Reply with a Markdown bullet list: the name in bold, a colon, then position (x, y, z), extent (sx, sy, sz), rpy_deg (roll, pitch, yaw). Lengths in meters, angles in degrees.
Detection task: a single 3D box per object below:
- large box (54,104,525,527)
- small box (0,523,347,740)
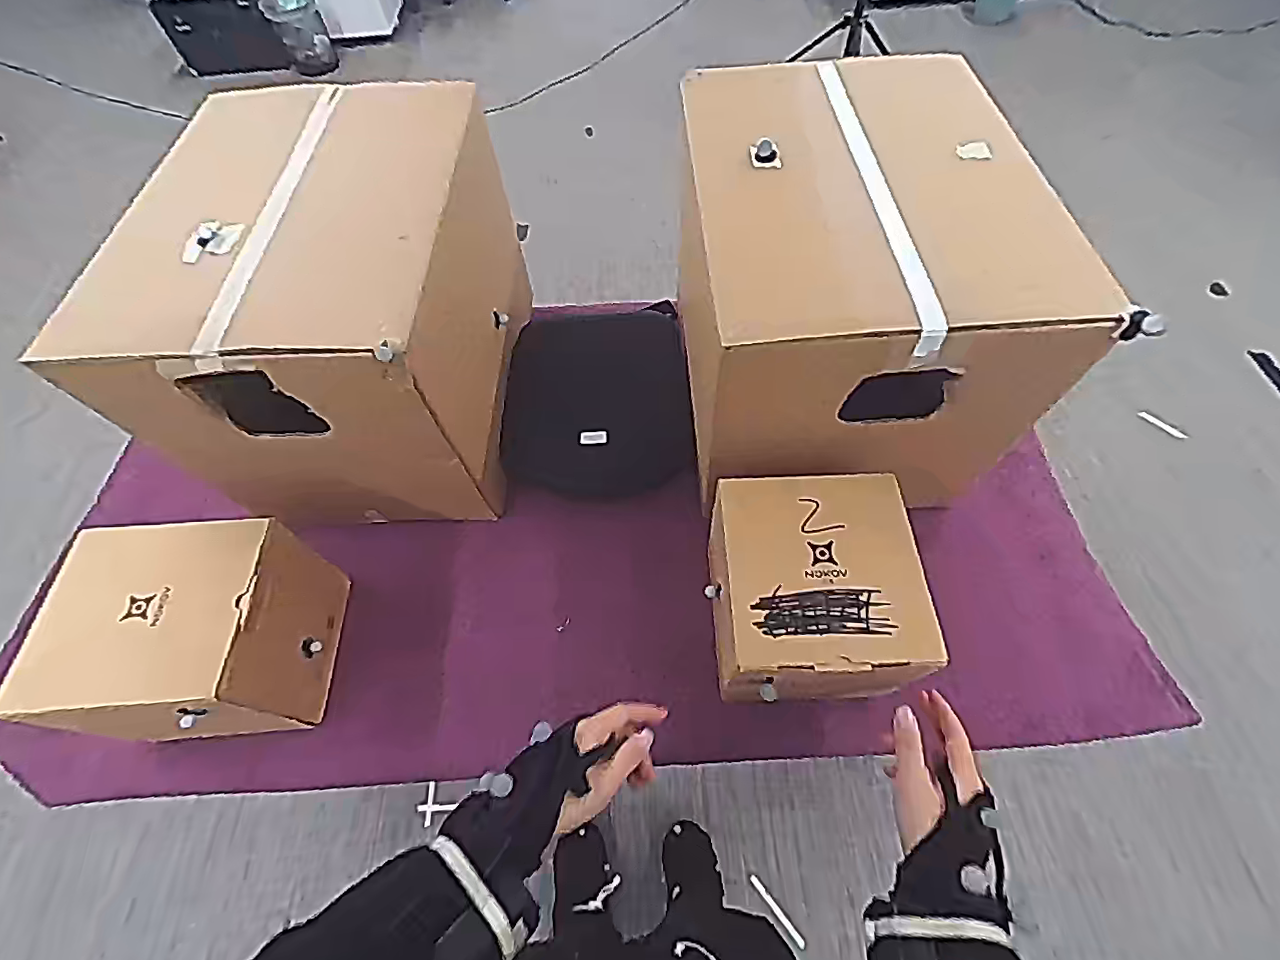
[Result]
- **large box**: position (-0.334, -0.185, 0.665), extent (0.320, 0.320, 0.408), rpy_deg (-2, 62, 2)
- **small box**: position (-0.434, 0.158, 0.546), extent (0.179, 0.176, 0.168), rpy_deg (-4, 59, -3)
